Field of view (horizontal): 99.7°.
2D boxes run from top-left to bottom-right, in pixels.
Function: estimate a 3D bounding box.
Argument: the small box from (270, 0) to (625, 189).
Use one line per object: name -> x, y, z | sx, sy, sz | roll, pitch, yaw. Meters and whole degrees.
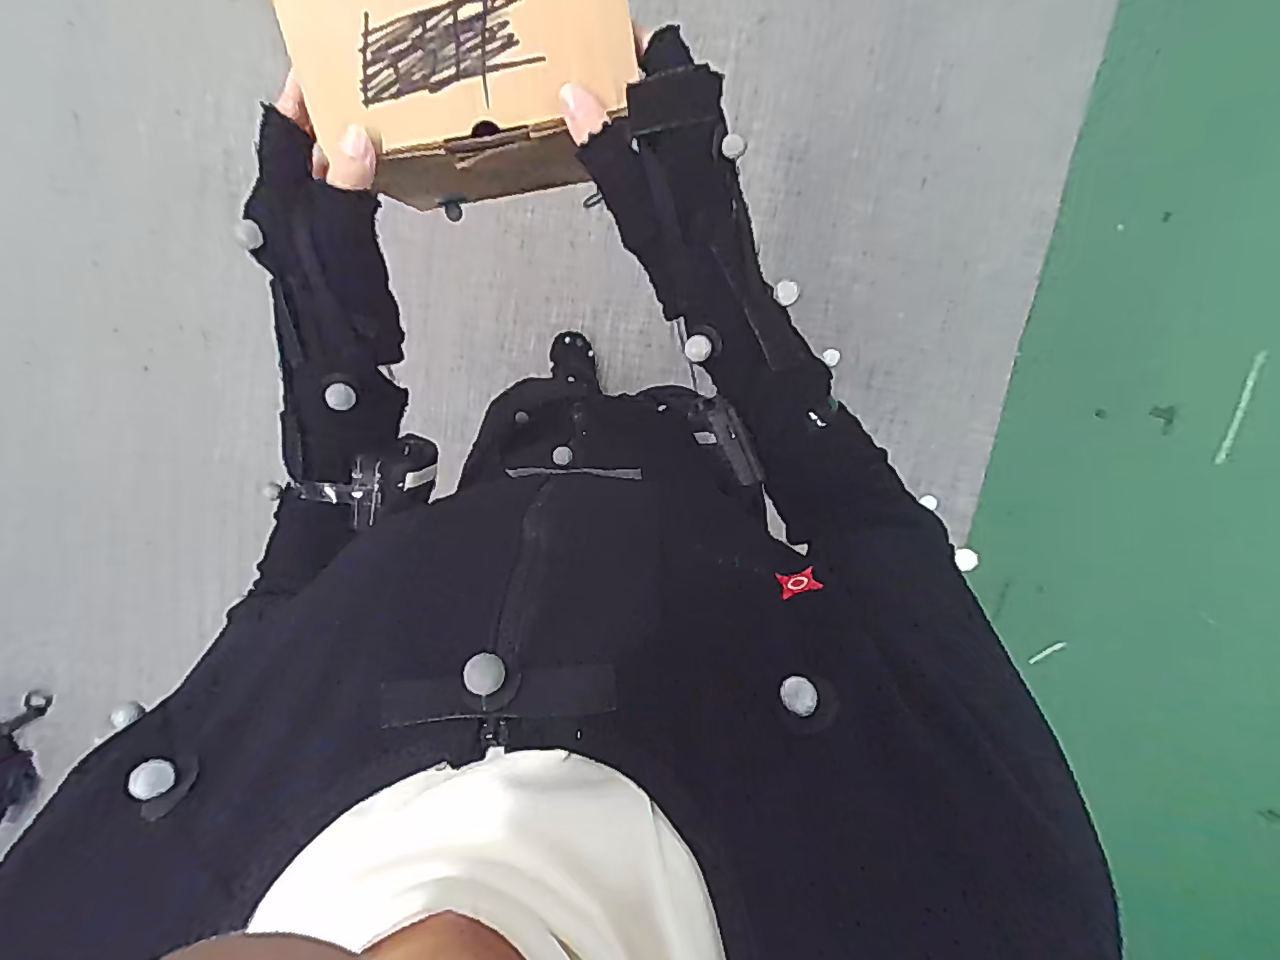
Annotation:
small box -> -0.104, -0.289, 0.324 | 0.168, 0.176, 0.179 | -10, 109, -2
